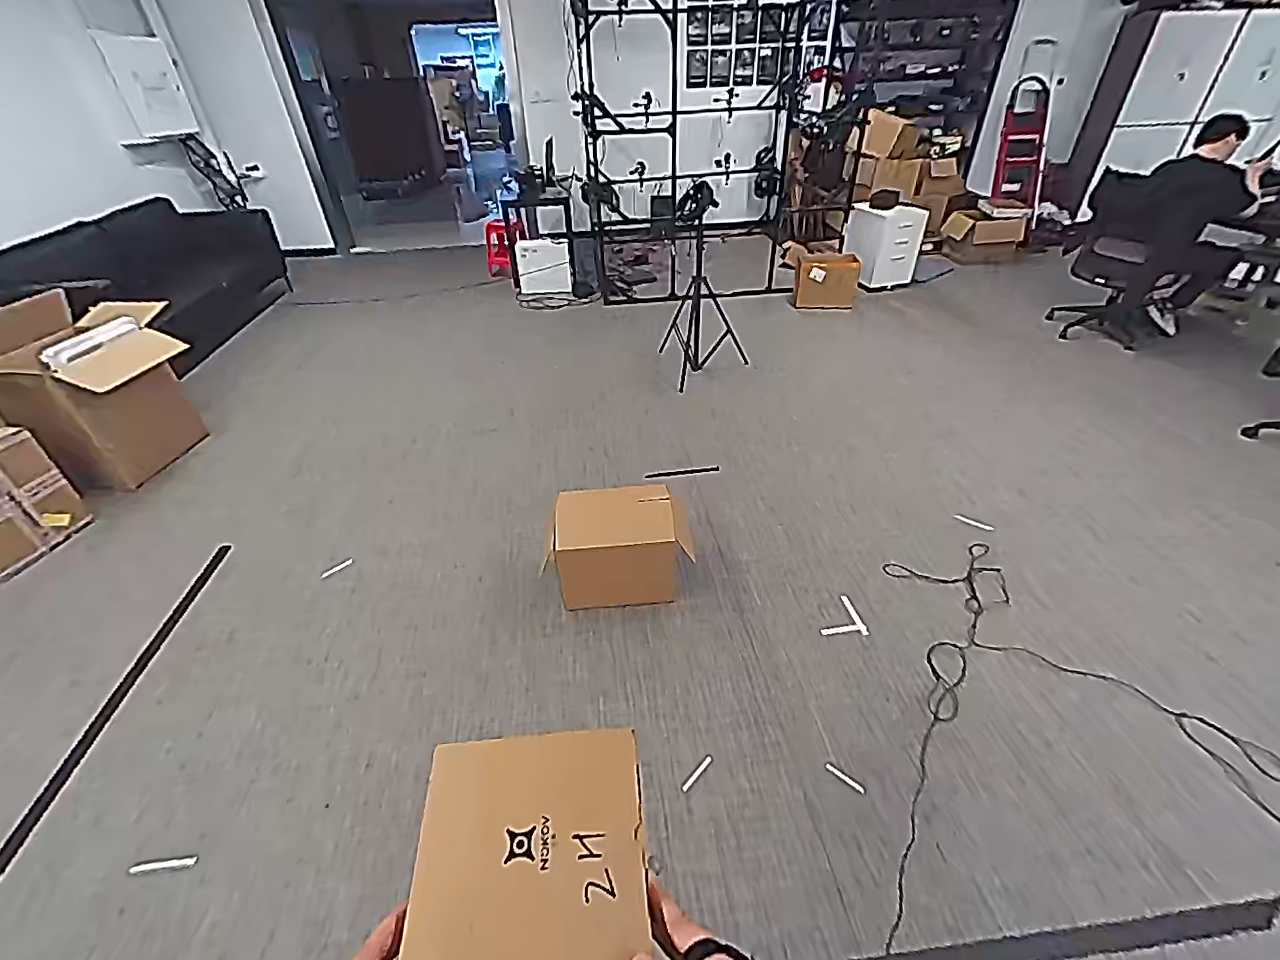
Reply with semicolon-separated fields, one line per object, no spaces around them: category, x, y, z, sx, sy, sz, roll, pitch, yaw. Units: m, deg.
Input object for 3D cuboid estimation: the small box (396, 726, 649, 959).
small box;-0.086;0.339;0.475;0.179;0.176;0.168;-3;44;-5
